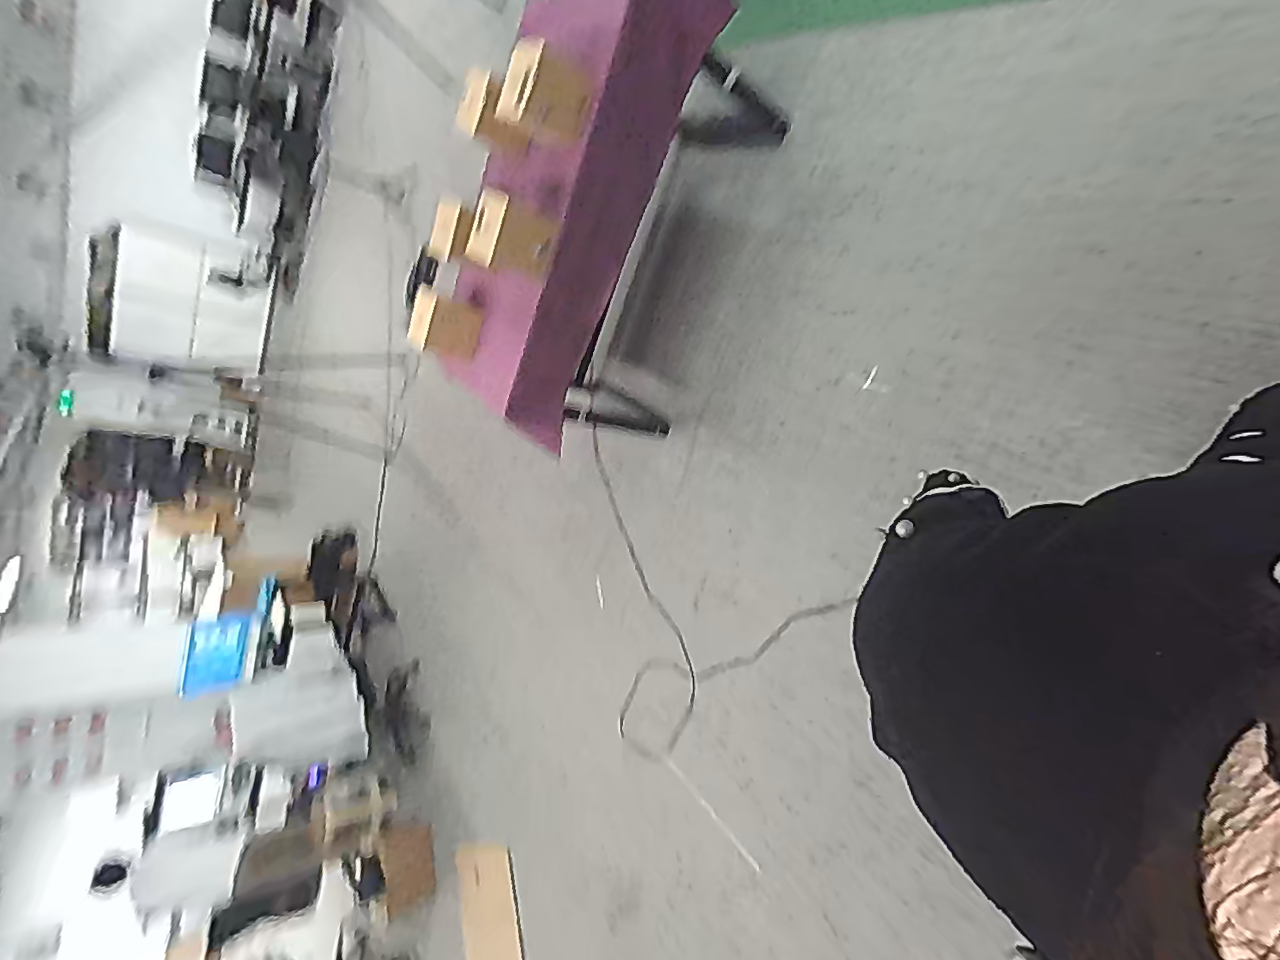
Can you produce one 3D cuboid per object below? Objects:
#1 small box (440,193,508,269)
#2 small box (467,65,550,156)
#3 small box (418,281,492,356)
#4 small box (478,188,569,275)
[{"bbox_3d":[-0.519,-0.801,1.748,0.179,0.176,0.168,39,114,41],"label":"small box"},{"bbox_3d":[-0.400,-1.124,1.655,0.179,0.176,0.168,46,117,39],"label":"small box"},{"bbox_3d":[-0.621,-0.543,1.824,0.168,0.176,0.179,40,114,42],"label":"small box"},{"bbox_3d":[-0.330,-0.699,1.530,0.179,0.176,0.168,40,115,42],"label":"small box"}]
